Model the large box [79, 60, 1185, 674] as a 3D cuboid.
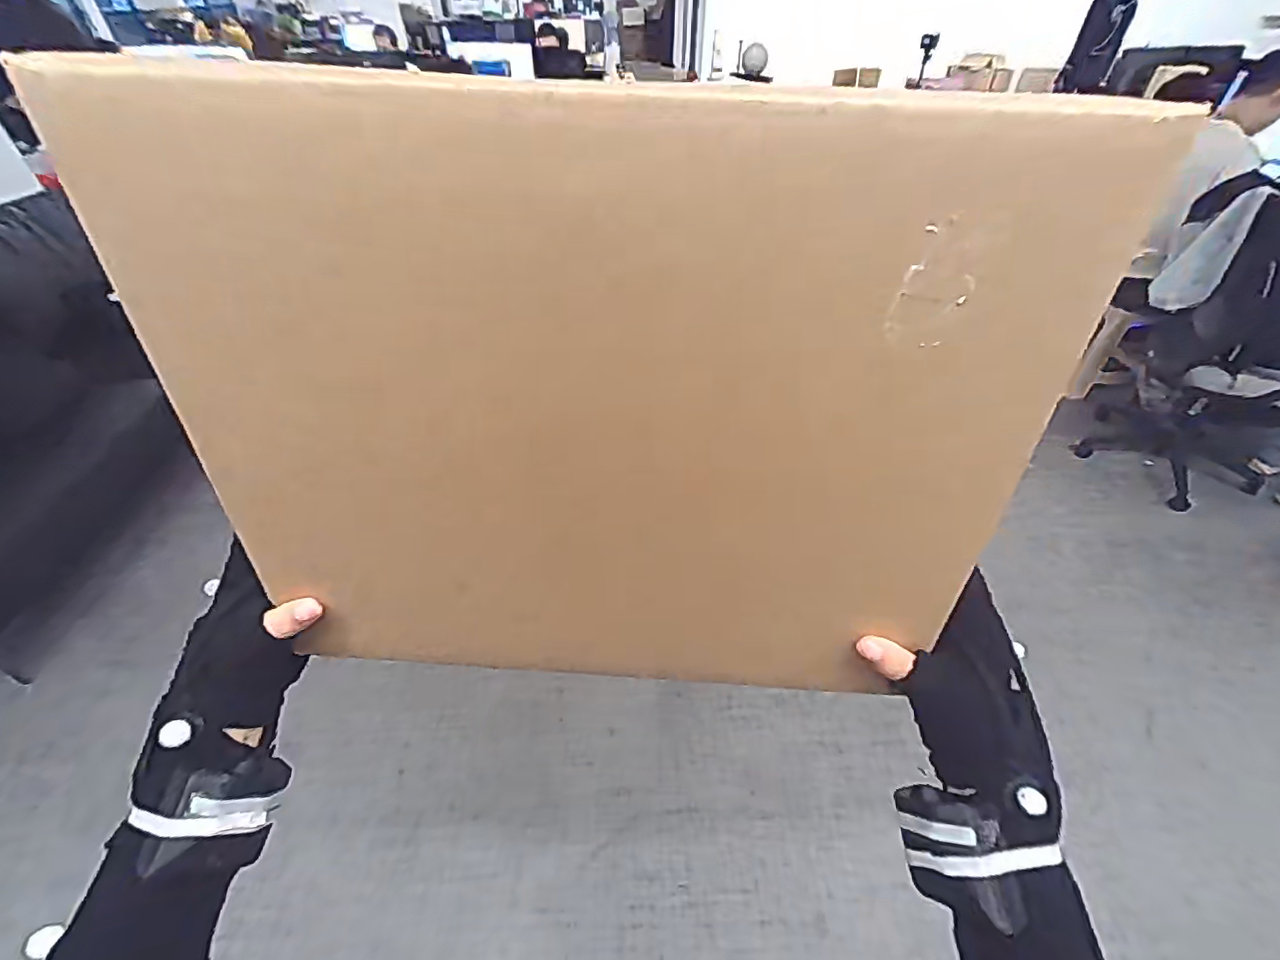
[{"bbox_3d":[-0.006,-0.087,0.395,0.408,0.320,0.320,4,34,0],"label":"large box"}]
